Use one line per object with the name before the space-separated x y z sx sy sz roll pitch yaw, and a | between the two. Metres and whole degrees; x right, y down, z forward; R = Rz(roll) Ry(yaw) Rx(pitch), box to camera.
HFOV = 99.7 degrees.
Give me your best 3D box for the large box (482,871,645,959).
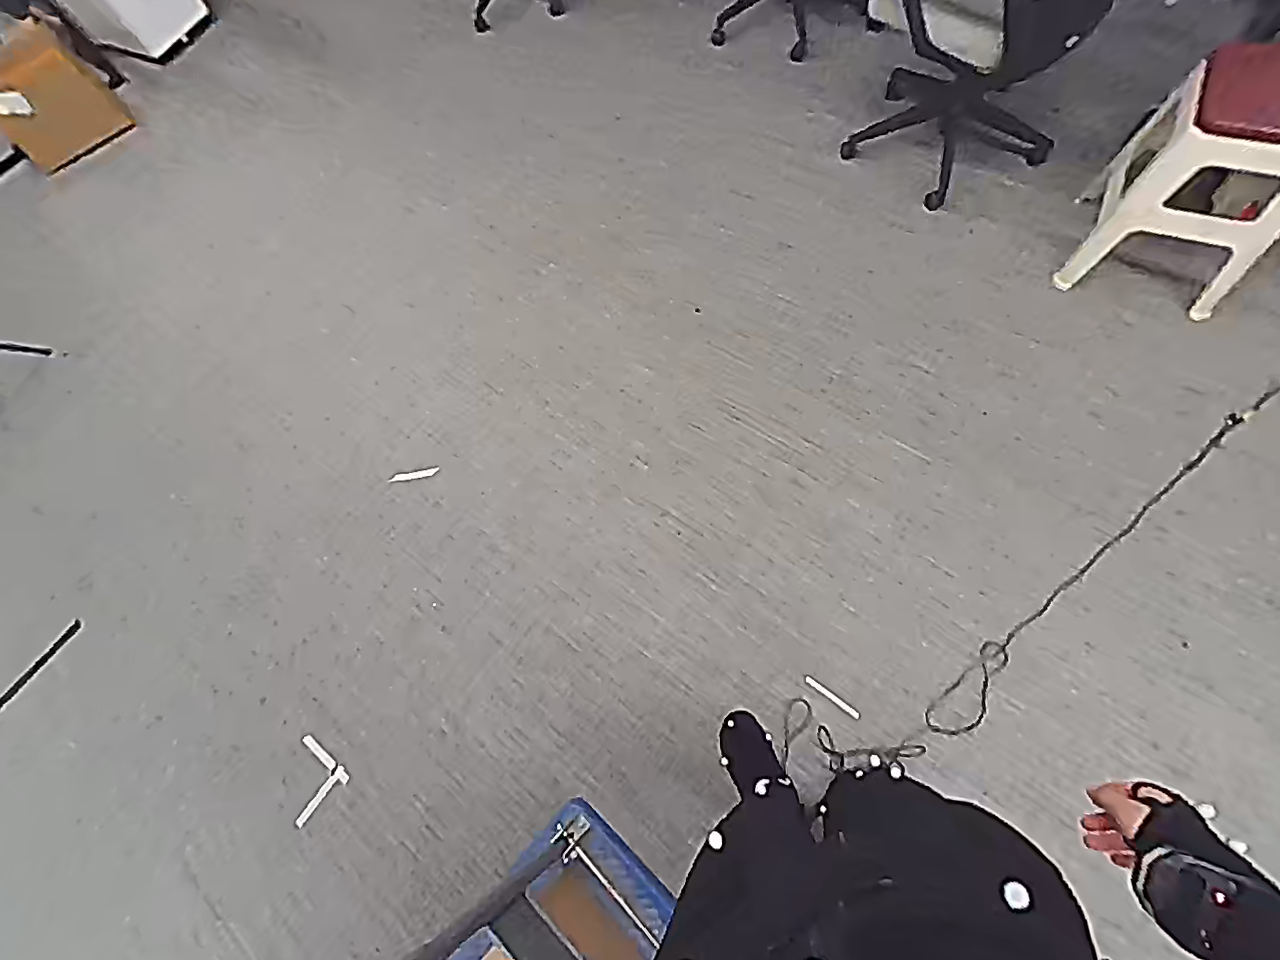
large box | -0.117 0.936 0.839 0.408 0.320 0.320 39 78 22
